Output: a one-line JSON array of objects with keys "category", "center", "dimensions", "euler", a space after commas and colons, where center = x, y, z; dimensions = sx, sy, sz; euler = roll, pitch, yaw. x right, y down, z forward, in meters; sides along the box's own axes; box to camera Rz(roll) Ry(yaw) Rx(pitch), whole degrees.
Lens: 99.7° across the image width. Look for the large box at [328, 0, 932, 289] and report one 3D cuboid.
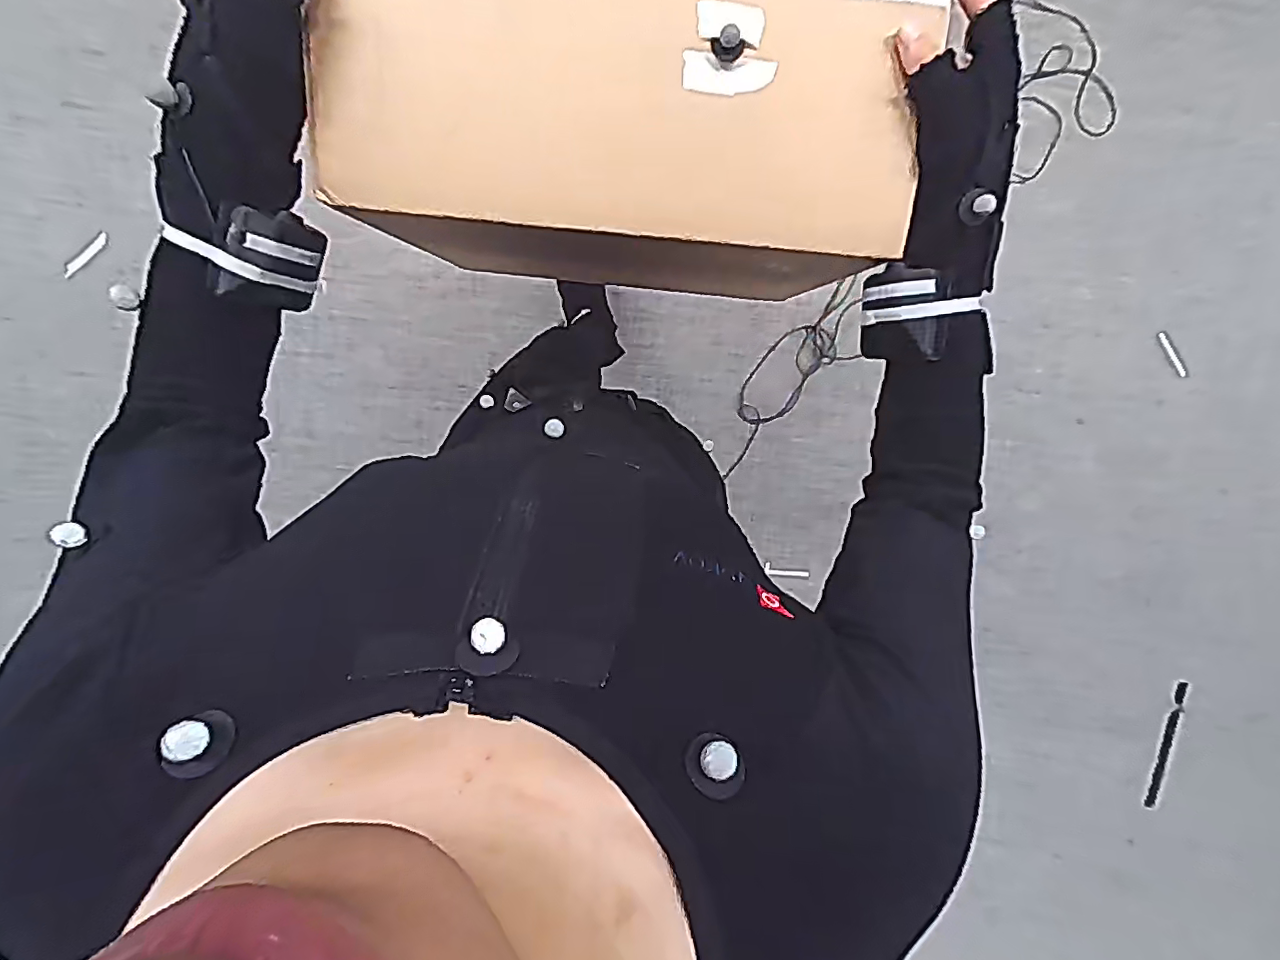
[{"category": "large box", "center": [-0.007, -0.369, 0.496], "dimensions": [0.408, 0.320, 0.320], "euler": [5, 103, -2]}]
